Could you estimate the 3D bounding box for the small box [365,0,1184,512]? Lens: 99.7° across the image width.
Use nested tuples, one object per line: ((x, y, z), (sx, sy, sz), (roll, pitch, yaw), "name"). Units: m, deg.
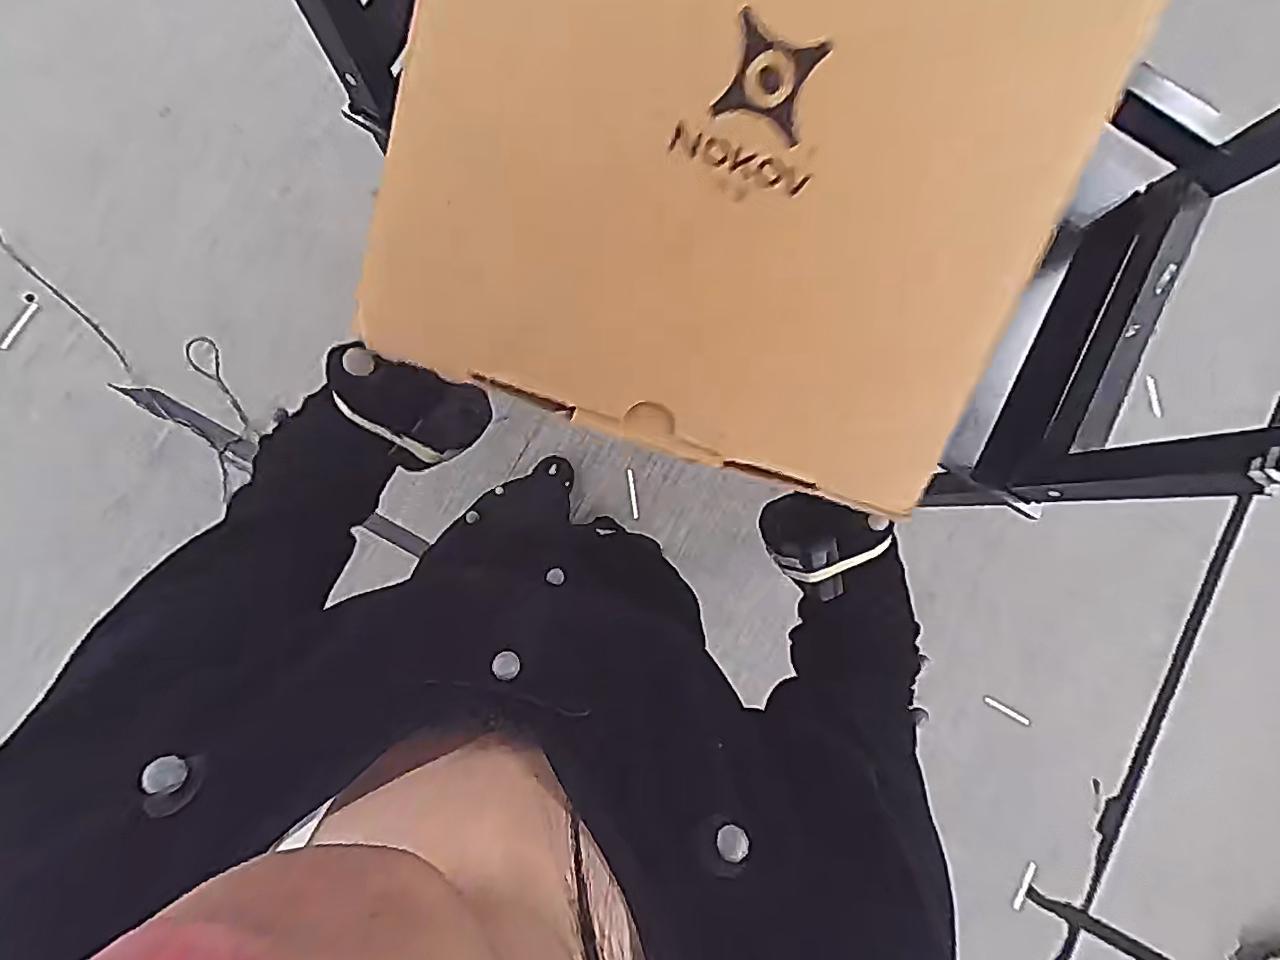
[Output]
((0.030, -0.115, 0.205), (0.168, 0.176, 0.179), (18, 105, -6), "small box")
